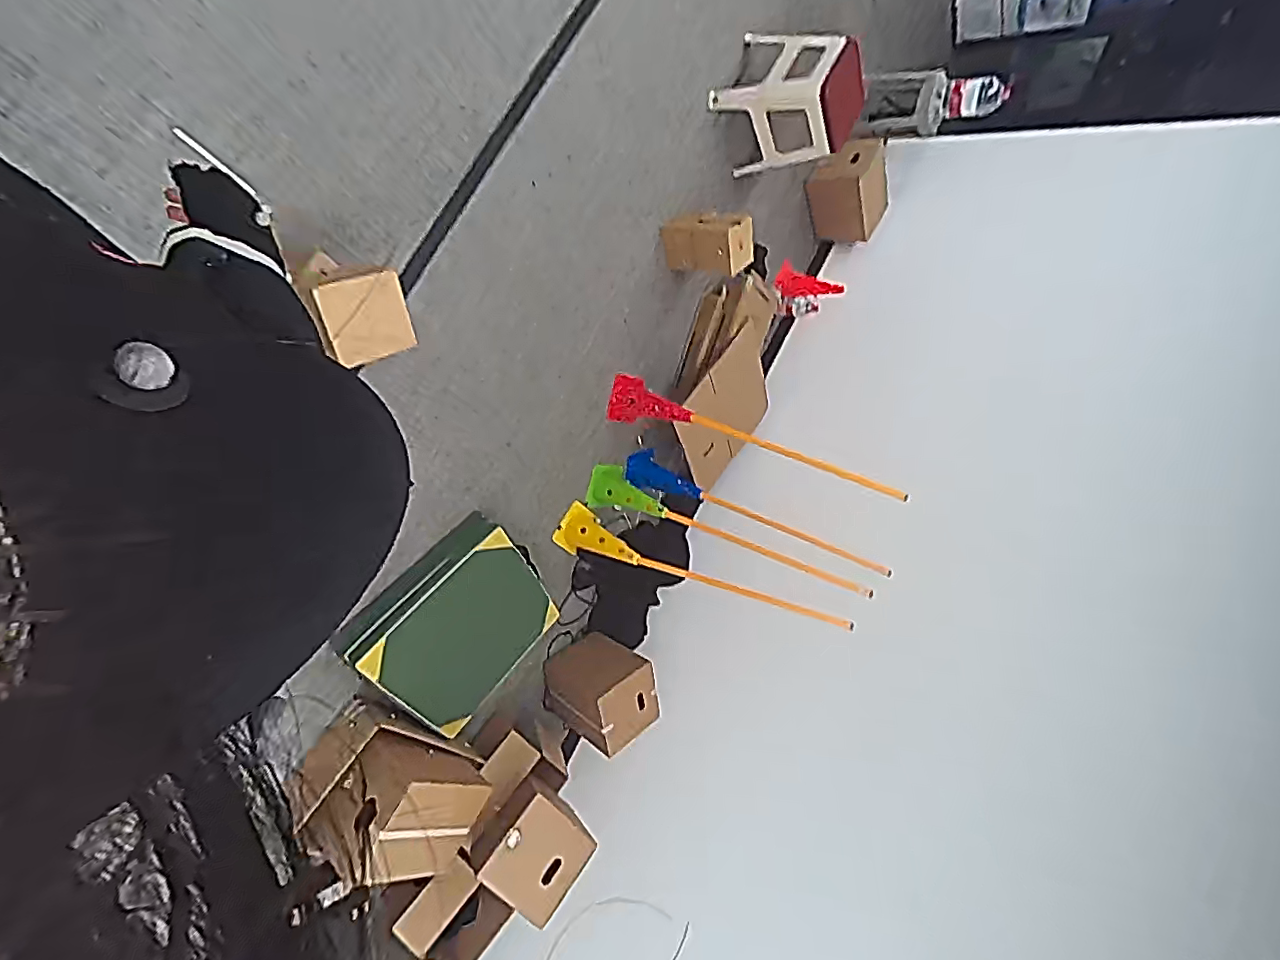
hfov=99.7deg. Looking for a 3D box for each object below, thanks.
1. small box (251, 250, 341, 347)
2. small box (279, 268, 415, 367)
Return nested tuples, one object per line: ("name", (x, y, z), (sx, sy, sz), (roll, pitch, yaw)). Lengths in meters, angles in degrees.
("small box", (-0.763, -0.409, 1.261), (0.179, 0.176, 0.168), (-62, 145, -12))
("small box", (-0.630, -0.354, 1.175), (0.179, 0.176, 0.168), (-37, 134, -39))
